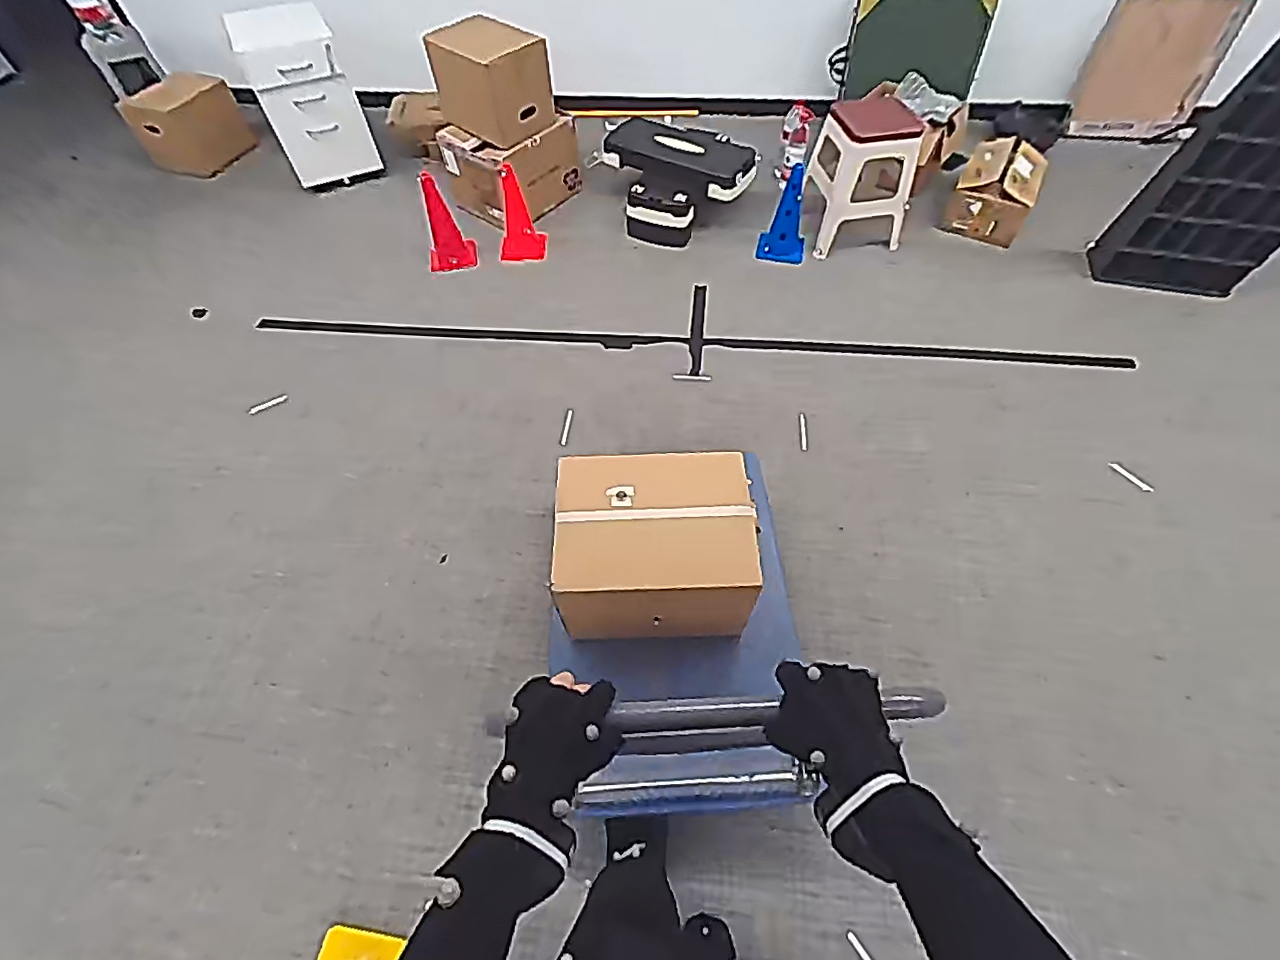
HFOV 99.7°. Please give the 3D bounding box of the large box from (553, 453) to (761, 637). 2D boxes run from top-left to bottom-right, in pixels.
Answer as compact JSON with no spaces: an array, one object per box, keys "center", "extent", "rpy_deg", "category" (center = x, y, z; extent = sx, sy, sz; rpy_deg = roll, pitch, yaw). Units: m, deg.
[{"center":[0.033,0.158,1.230],"extent":[0.408,0.320,0.320],"rpy_deg":[-2,57,1],"category":"large box"}]
